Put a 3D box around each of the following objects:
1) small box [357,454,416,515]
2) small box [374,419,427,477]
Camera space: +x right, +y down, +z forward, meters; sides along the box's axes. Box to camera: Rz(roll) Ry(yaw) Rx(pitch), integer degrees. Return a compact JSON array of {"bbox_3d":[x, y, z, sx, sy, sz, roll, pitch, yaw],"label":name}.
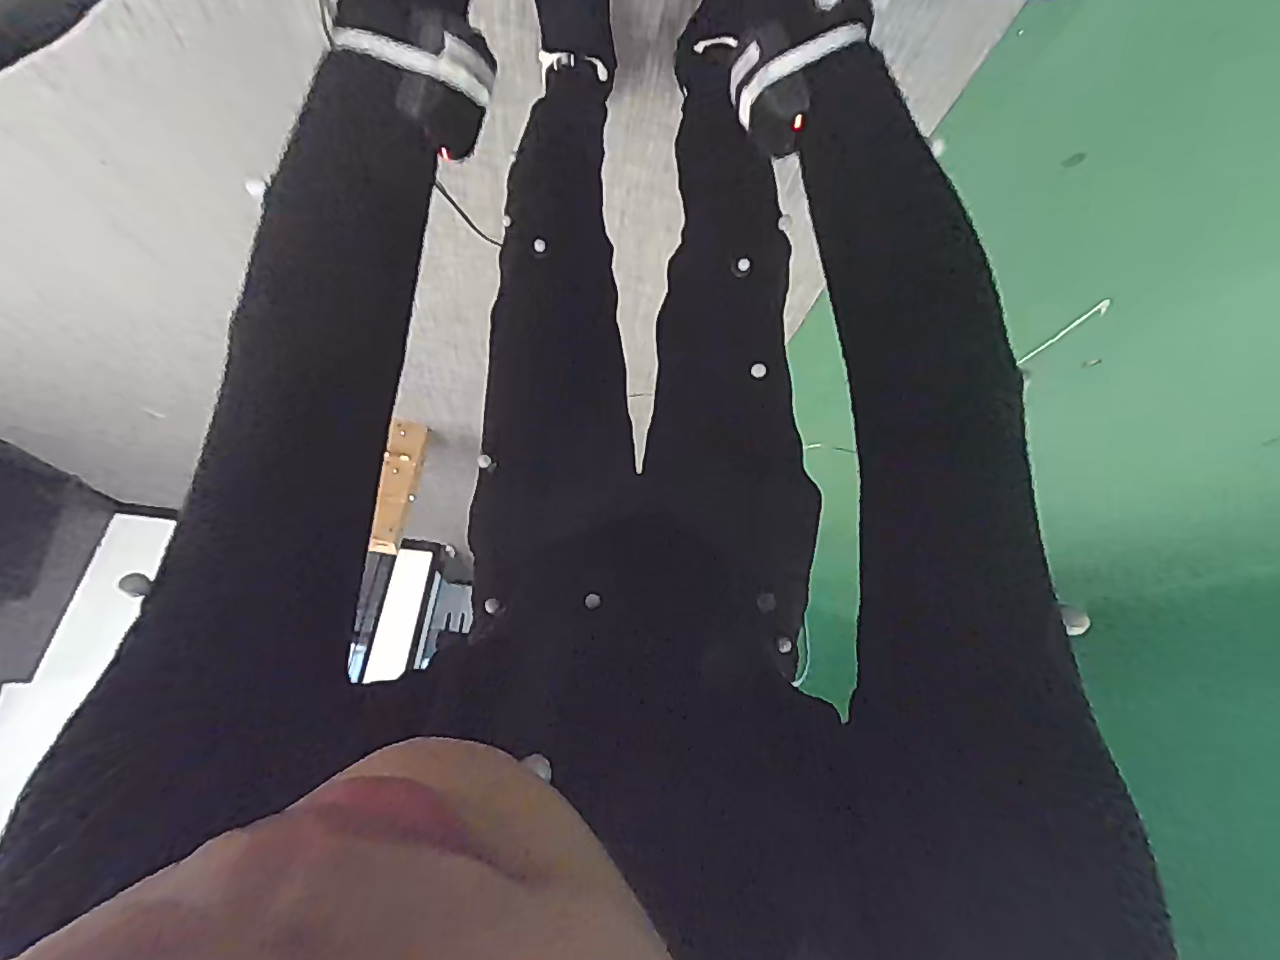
[{"bbox_3d":[-0.994,0.020,2.133,0.168,0.176,0.179,12,155,-14],"label":"small box"},{"bbox_3d":[-0.972,-0.126,2.197,0.168,0.176,0.179,12,154,-20],"label":"small box"}]
